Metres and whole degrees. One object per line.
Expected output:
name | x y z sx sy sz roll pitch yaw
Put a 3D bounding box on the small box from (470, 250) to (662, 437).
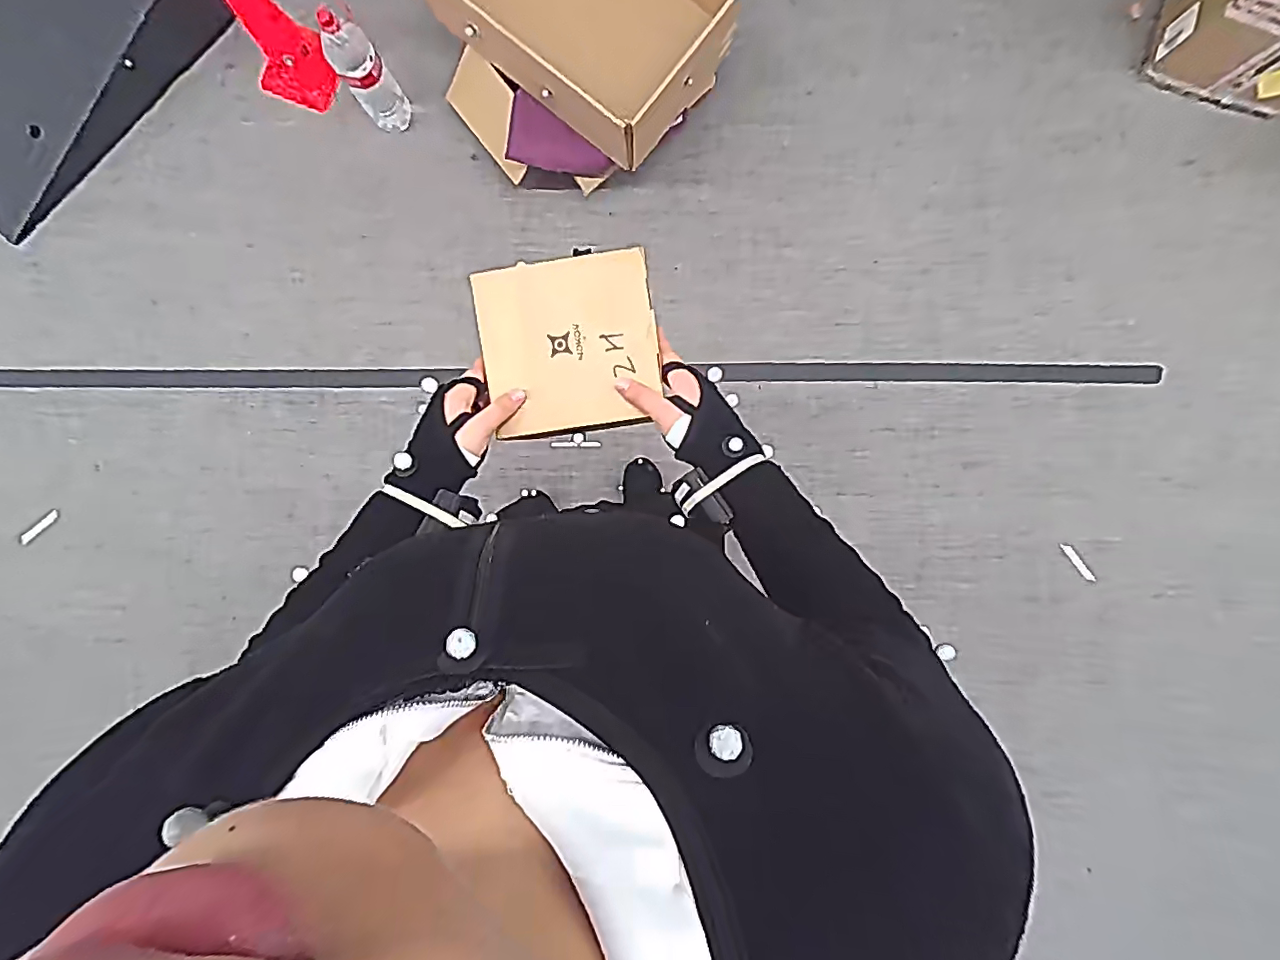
small box | -0.071 -0.140 0.615 0.179 0.176 0.168 -8 95 1
